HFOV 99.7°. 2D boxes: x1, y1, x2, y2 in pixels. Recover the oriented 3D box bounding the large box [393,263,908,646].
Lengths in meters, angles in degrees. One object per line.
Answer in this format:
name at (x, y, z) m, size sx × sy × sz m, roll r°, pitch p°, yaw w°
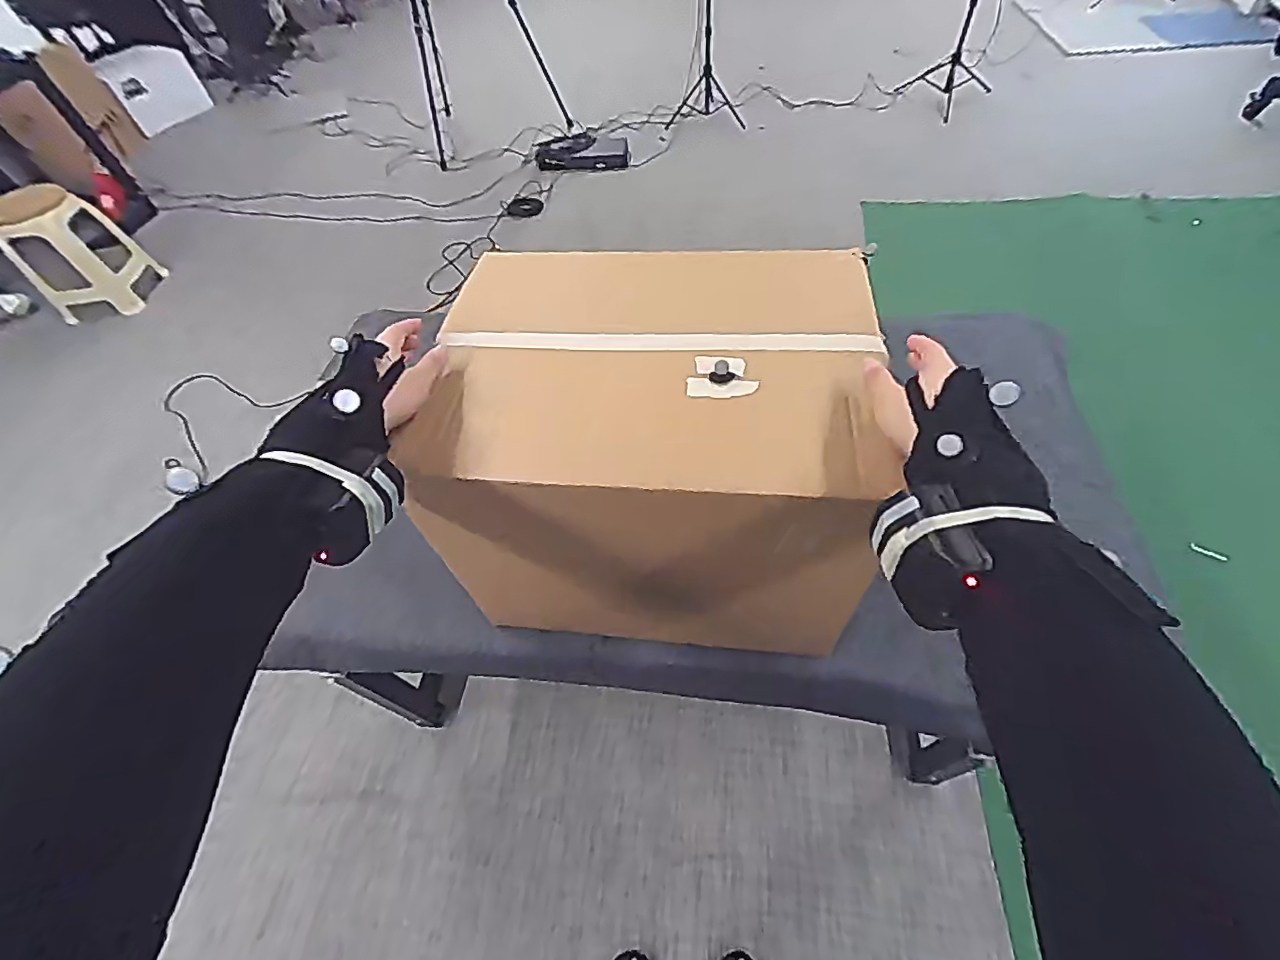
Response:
large box at (0.021, -0.025, 0.615) m, size 0.408 × 0.320 × 0.320 m, roll 3°, pitch 53°, yaw 7°
